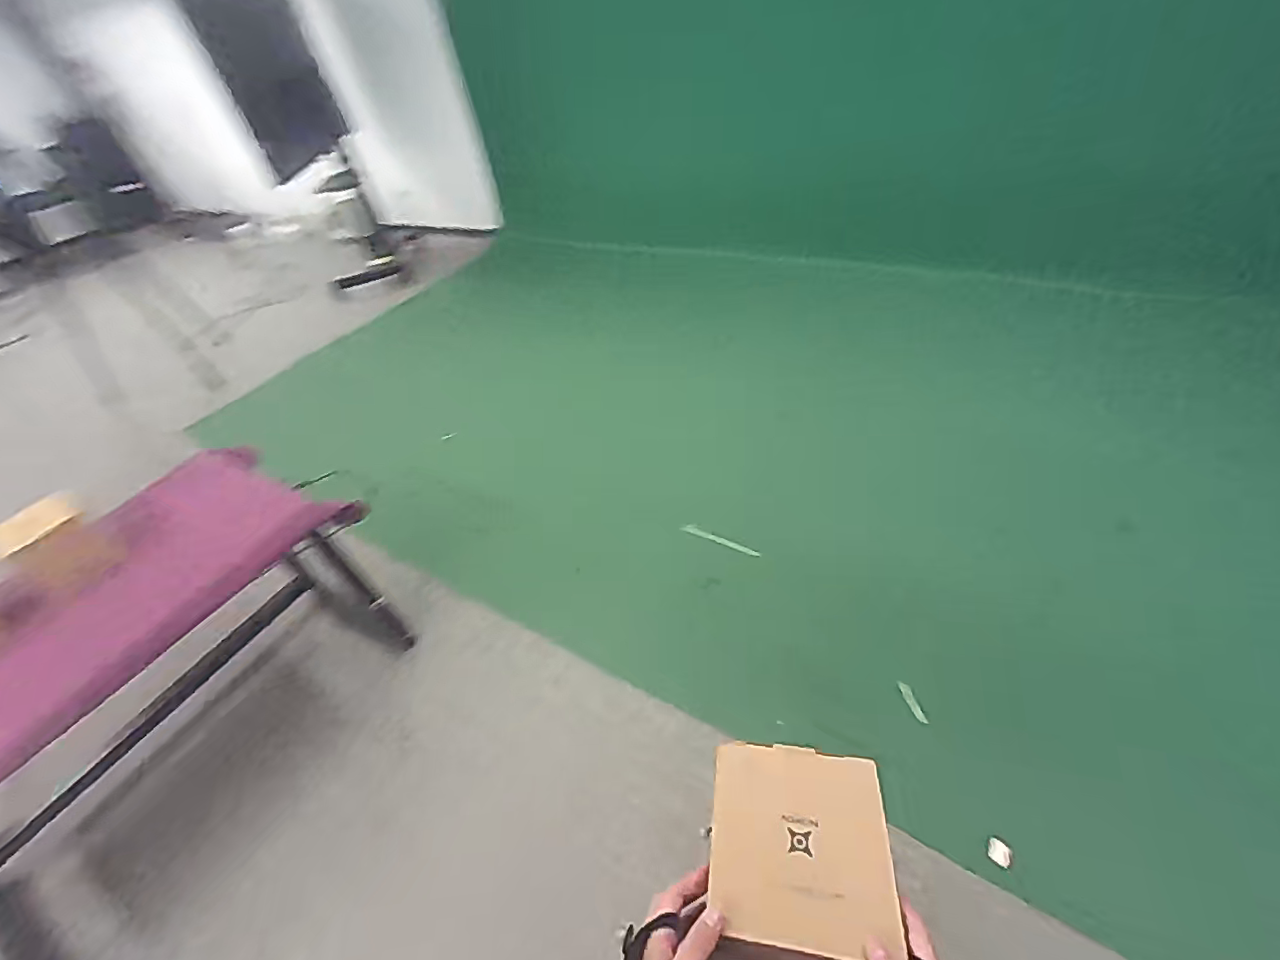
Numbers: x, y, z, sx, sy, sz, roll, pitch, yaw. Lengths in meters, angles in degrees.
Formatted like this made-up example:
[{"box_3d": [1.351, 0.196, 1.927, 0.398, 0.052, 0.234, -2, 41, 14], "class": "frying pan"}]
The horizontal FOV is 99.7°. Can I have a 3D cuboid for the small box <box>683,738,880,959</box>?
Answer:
[{"box_3d": [0.135, 0.404, 0.565, 0.168, 0.176, 0.179, 2, 37, 10], "class": "small box"}]

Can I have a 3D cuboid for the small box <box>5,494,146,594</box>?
[{"box_3d": [-1.456, 0.169, 1.404, 0.179, 0.176, 0.168, 19, 52, 29], "class": "small box"}]
